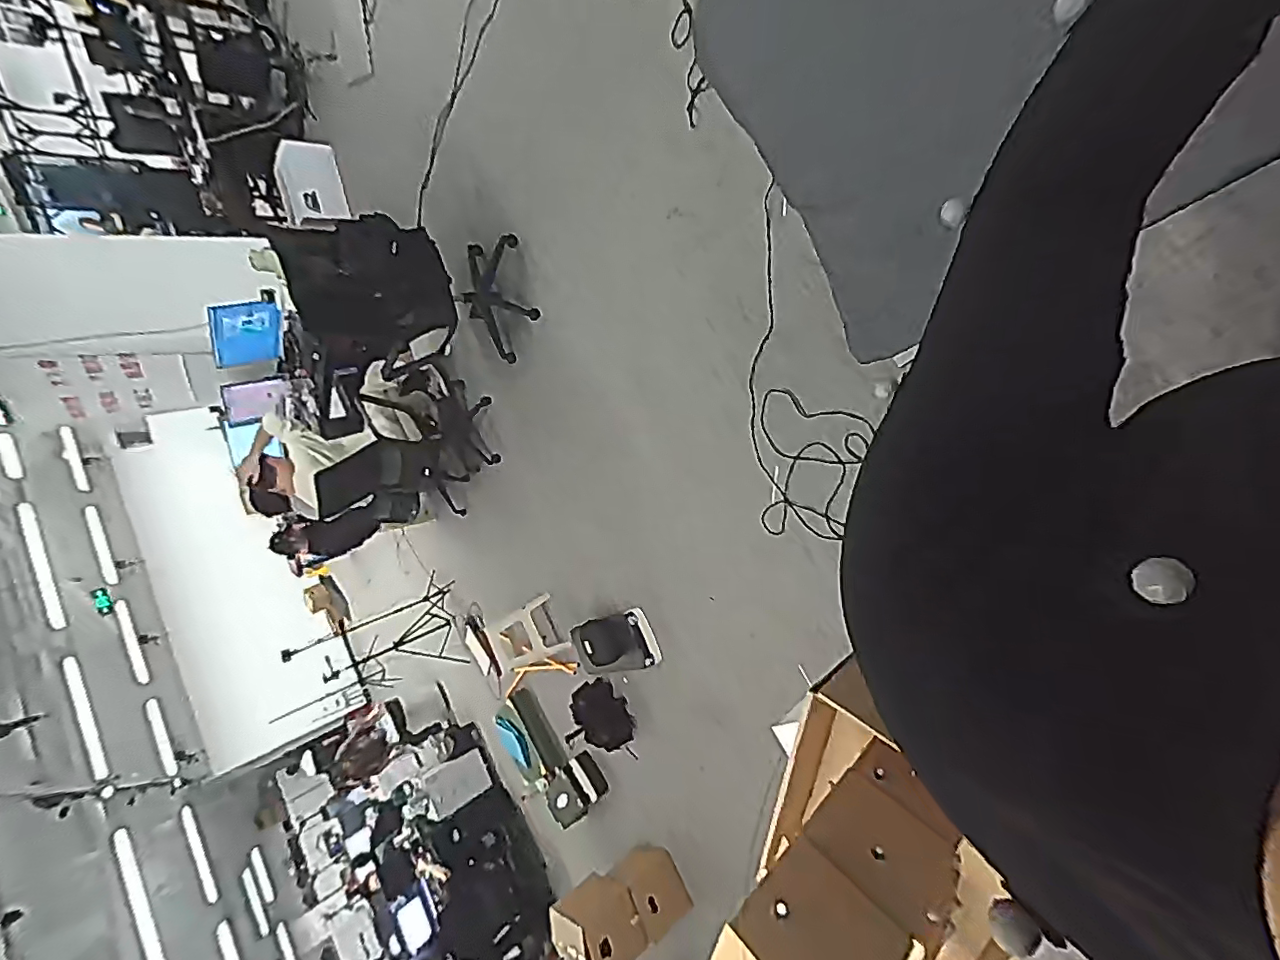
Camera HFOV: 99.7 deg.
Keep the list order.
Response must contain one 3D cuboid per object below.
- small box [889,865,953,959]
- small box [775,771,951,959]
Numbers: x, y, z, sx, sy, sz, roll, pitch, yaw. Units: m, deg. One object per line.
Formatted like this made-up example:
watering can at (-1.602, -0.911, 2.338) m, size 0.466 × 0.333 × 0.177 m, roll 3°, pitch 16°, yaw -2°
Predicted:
small box at (0.473, 0.792, 1.030) m, size 0.168 × 0.176 × 0.179 m, roll 19°, pitch 117°, yaw 44°
small box at (0.341, 0.590, 0.836) m, size 0.179 × 0.176 × 0.168 m, roll 29°, pitch 128°, yaw 37°
